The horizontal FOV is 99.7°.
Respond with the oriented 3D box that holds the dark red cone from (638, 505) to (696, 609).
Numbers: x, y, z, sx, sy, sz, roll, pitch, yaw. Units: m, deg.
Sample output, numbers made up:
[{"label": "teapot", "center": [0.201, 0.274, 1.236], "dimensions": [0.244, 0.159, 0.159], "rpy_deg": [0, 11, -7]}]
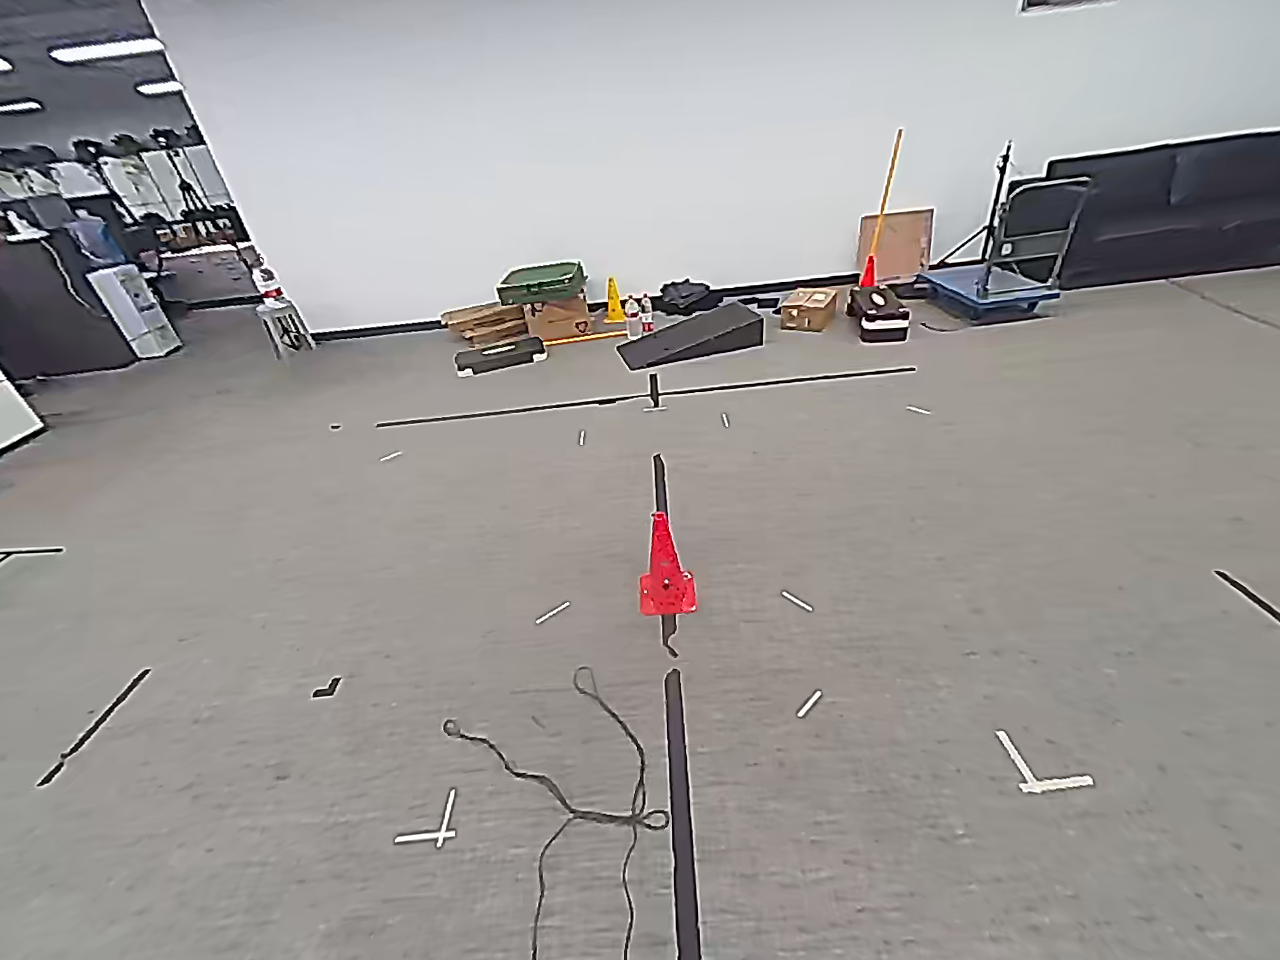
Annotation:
[{"label": "dark red cone", "center": [0.076, 0.247, 1.847], "dimensions": [0.201, 0.394, 0.202], "rpy_deg": [-7, 34, 3]}]
